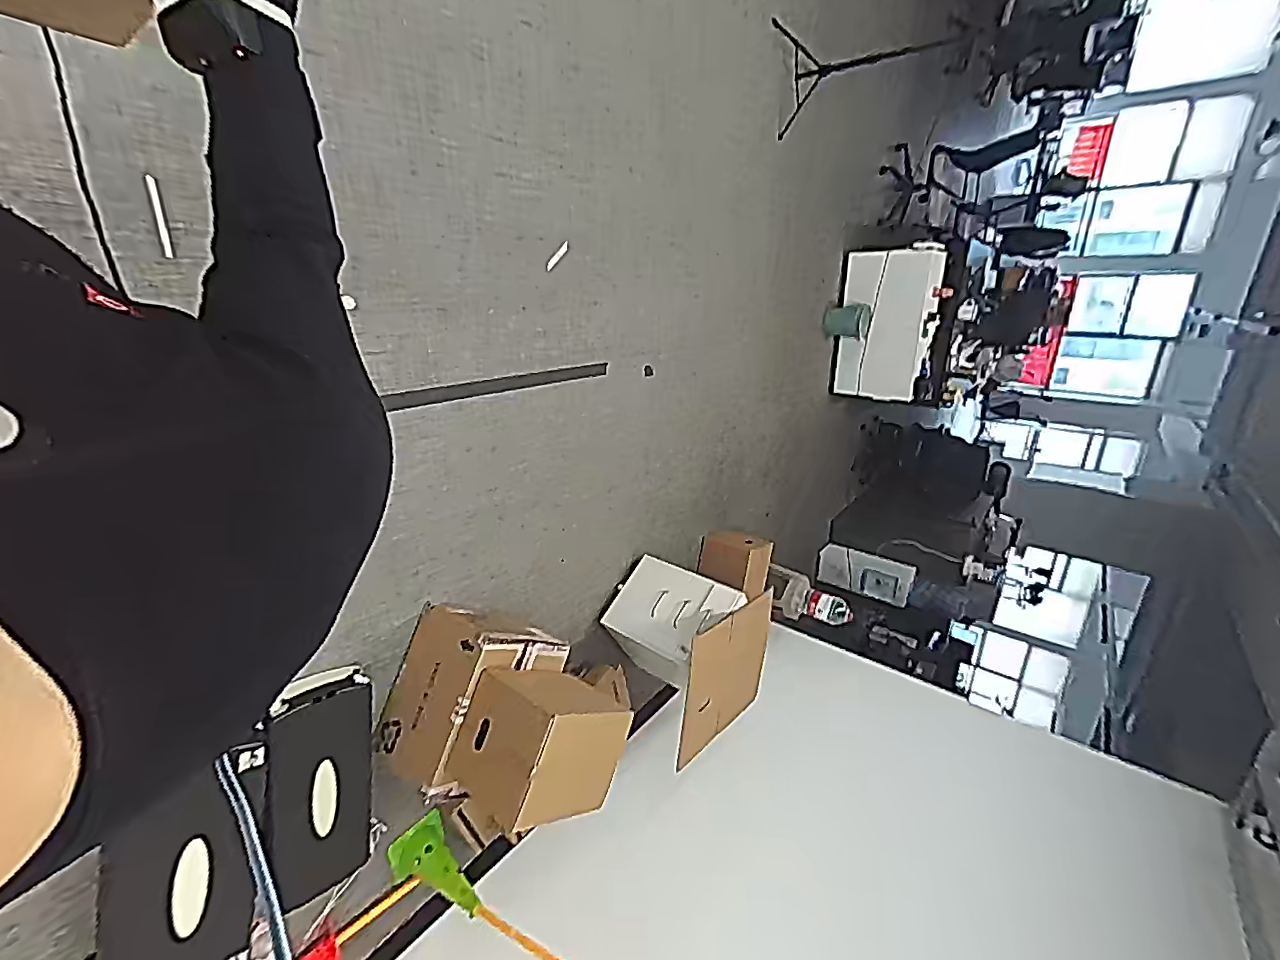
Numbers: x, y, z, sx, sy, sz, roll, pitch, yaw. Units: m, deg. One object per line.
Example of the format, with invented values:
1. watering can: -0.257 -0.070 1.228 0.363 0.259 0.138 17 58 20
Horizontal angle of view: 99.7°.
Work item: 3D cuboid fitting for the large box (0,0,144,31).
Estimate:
1. large box: -0.540 -0.505 0.268 0.408 0.320 0.320 -19 123 -46
